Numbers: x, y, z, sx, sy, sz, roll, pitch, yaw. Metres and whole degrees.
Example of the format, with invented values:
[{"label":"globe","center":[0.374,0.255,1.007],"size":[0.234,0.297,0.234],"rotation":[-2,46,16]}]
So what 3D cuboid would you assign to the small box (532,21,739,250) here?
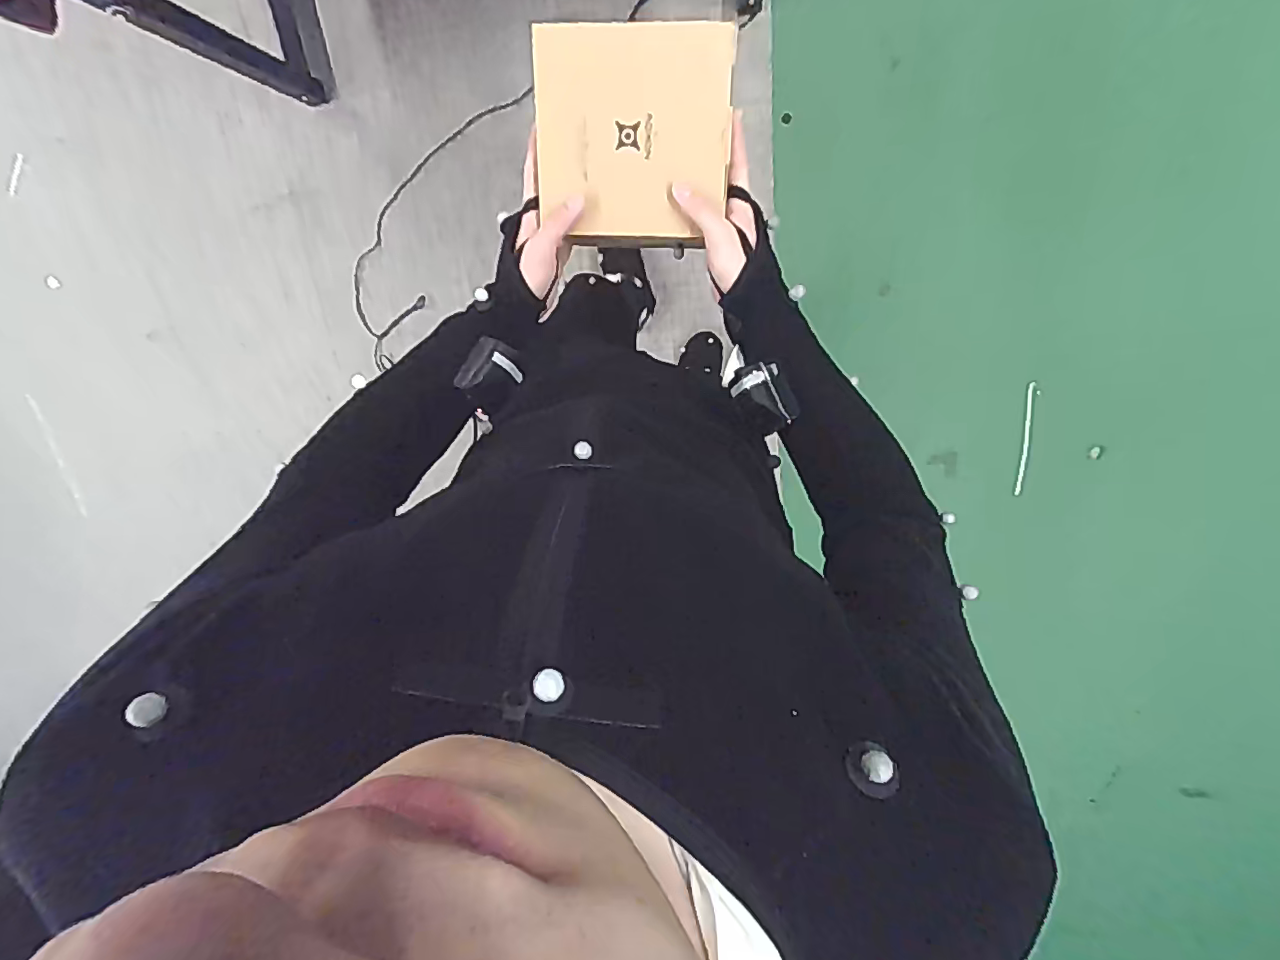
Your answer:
[{"label":"small box","center":[-0.001,-0.329,0.548],"size":[0.179,0.176,0.168],"rotation":[4,110,5]}]
